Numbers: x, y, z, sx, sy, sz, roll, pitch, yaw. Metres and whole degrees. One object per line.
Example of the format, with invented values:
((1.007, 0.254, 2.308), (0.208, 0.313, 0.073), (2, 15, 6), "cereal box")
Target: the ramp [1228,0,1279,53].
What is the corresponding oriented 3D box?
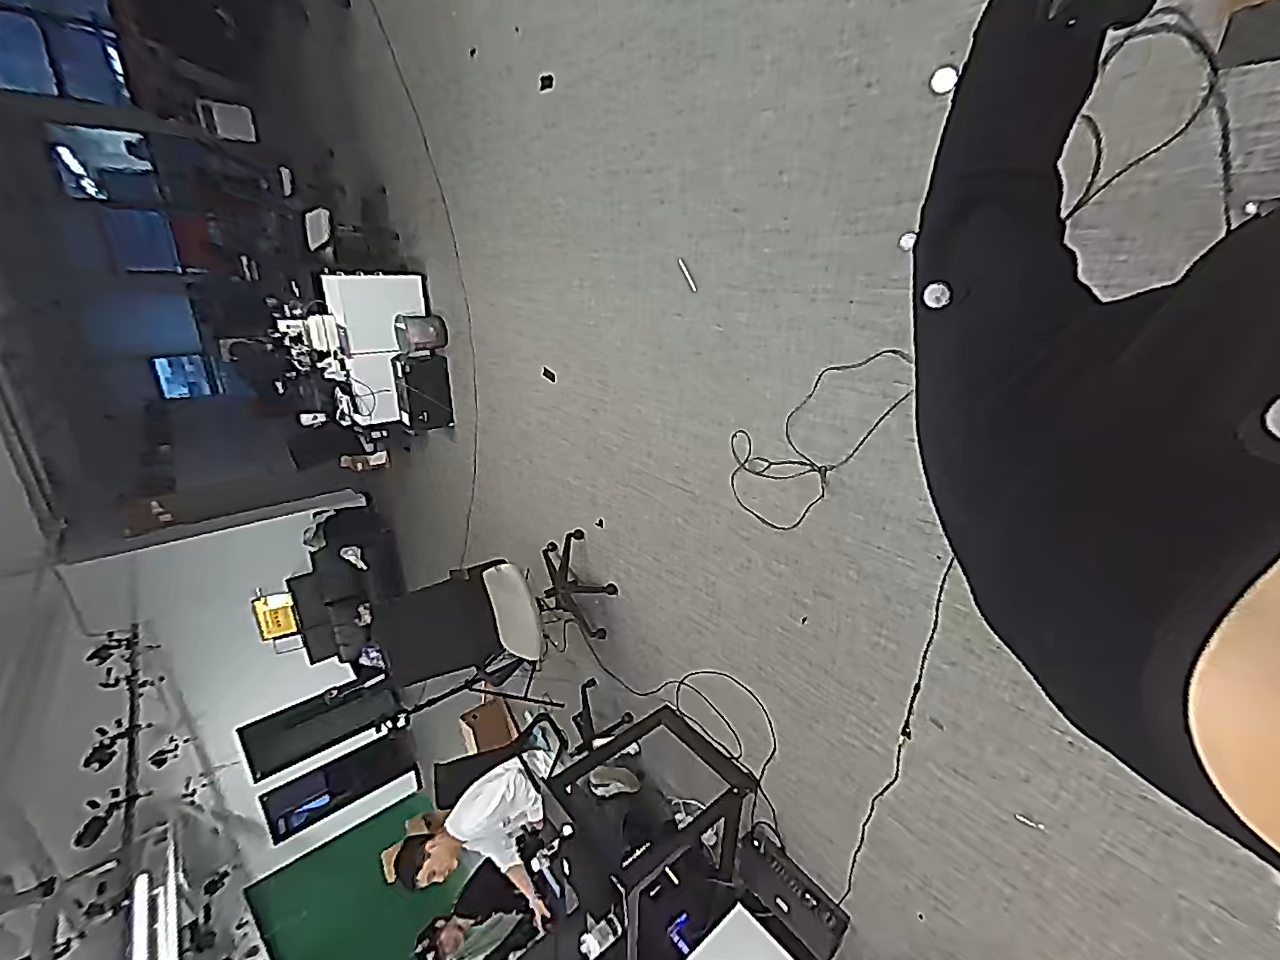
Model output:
((1.109, -1.103, 0.533), (0.509, 0.206, 0.991), (21, 120, 45), "ramp")
